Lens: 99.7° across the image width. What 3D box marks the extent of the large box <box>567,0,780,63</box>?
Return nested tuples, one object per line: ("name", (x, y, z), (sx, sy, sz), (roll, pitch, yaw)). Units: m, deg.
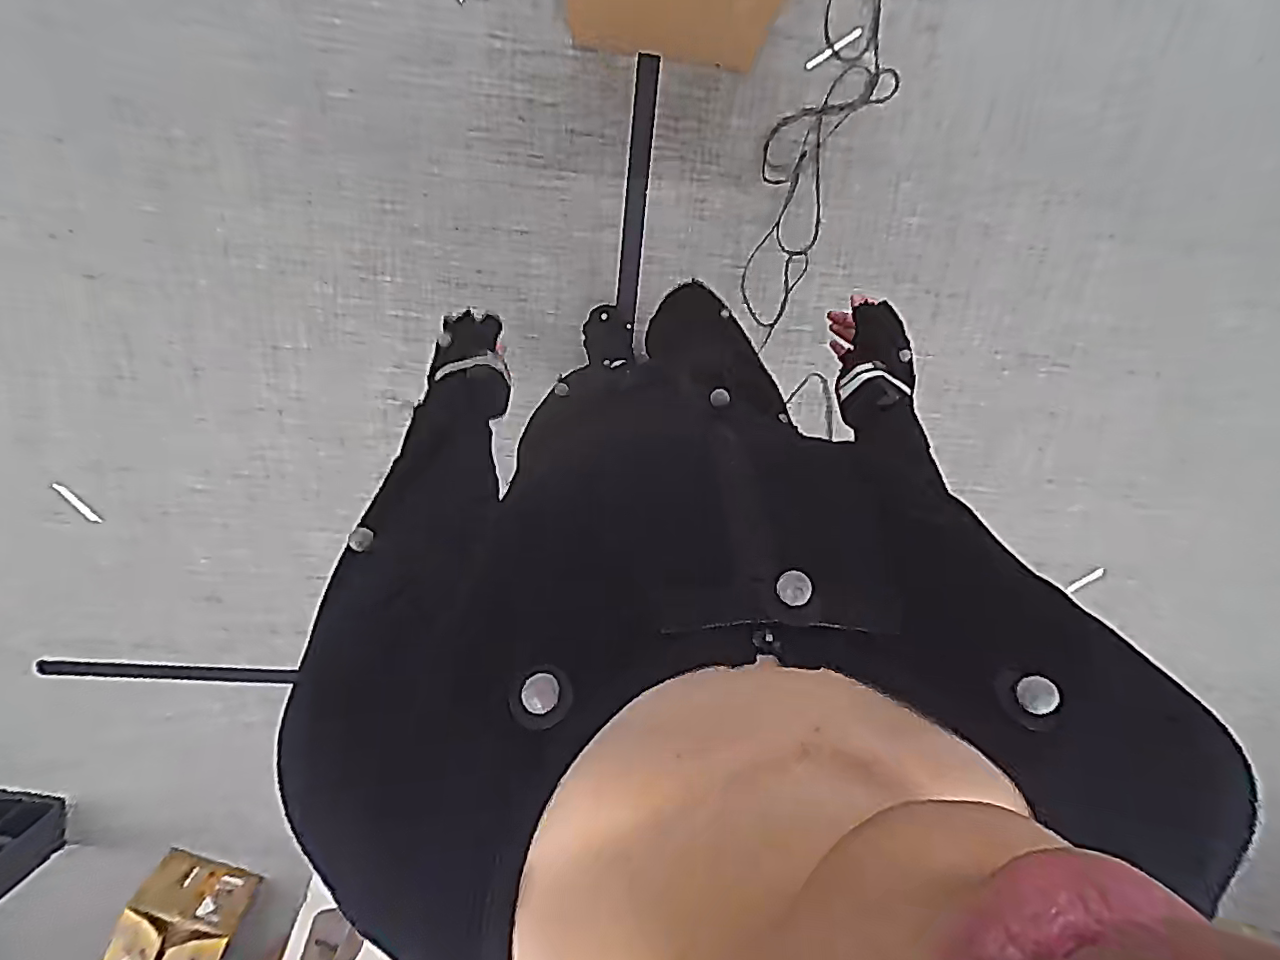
("large box", (0.065, -1.059, 1.029), (0.408, 0.320, 0.320), (4, 107, -5))
